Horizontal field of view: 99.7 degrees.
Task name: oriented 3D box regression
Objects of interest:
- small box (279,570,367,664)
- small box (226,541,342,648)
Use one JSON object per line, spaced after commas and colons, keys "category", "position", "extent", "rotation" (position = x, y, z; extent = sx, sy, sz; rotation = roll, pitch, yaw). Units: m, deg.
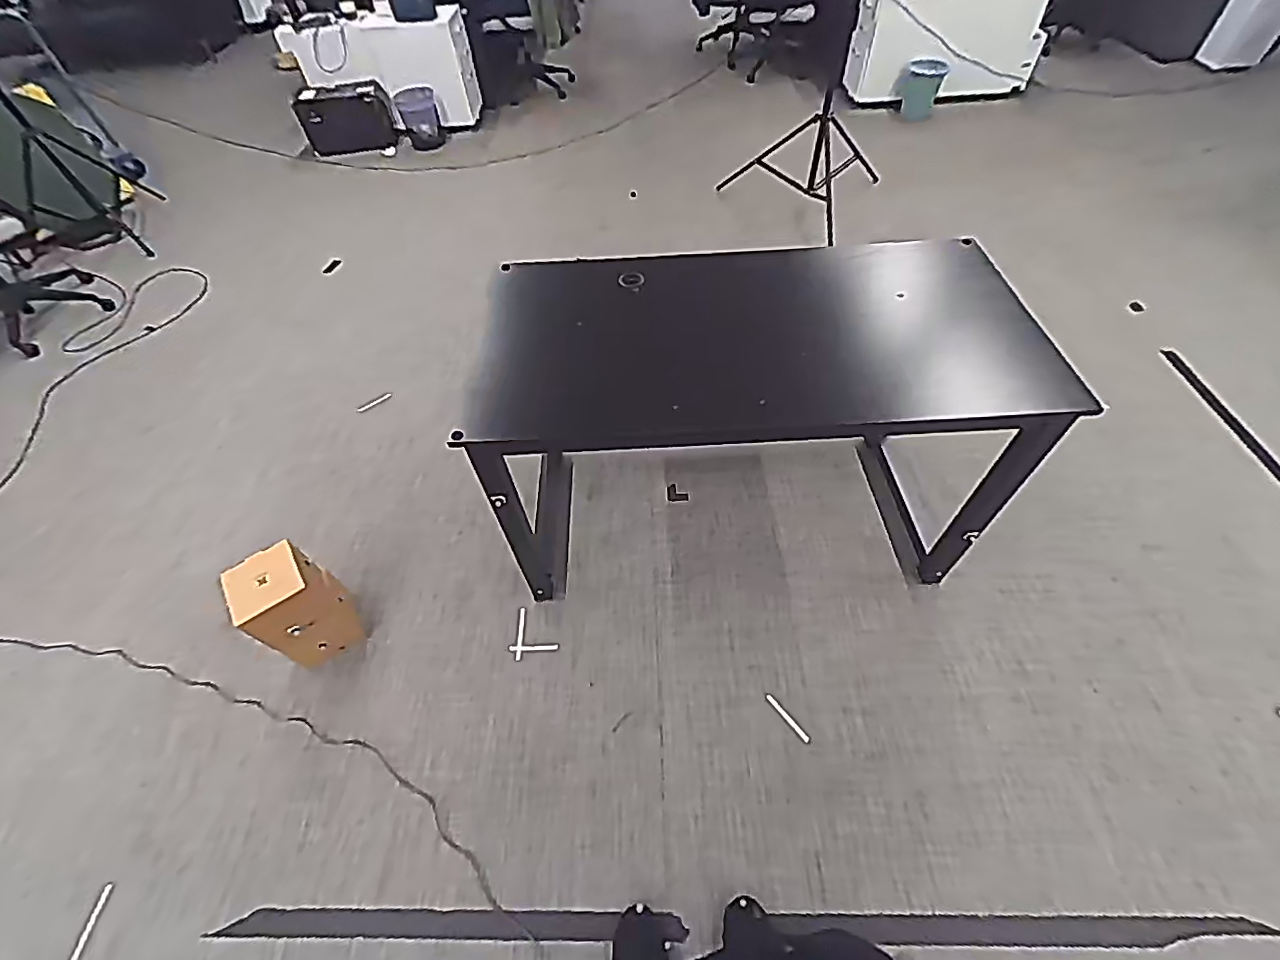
{"category": "small box", "position": [-0.897, 0.393, 1.519], "extent": [0.168, 0.176, 0.179], "rotation": [-28, 55, -18]}
{"category": "small box", "position": [-0.907, 0.297, 1.387], "extent": [0.168, 0.176, 0.179], "rotation": [-33, 59, -19]}
